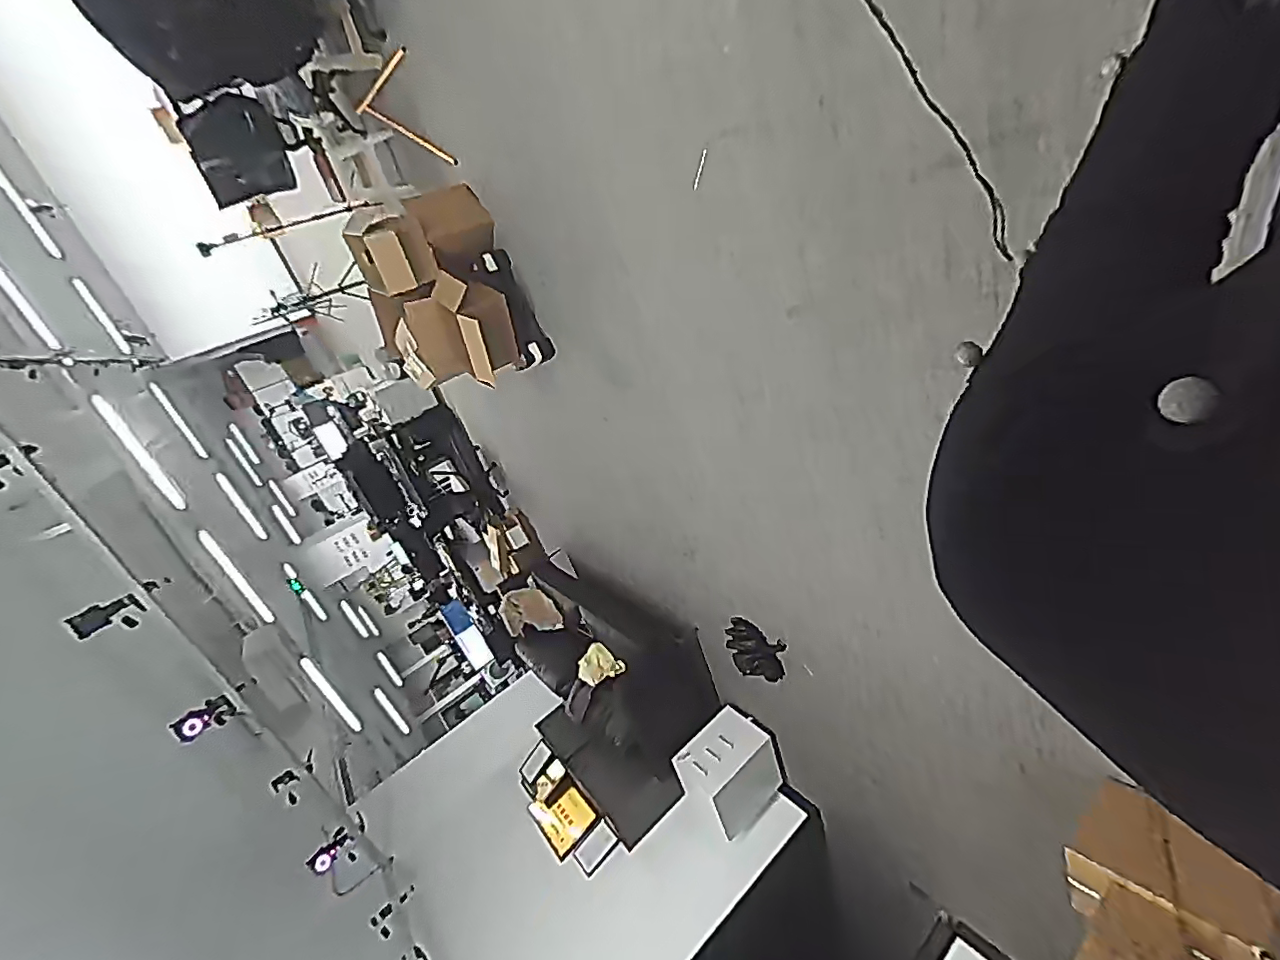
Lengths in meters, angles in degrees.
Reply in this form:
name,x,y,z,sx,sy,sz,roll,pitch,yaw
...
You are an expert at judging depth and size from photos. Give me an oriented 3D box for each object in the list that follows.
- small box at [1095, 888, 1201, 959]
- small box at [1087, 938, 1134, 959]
name,x,y,z,sx,sy,sz,roll,pitch,yaw
small box,1.362,1.260,1.448,0.179,0.176,0.168,12,127,57
small box,1.237,1.335,1.372,0.168,0.176,0.179,10,125,56
